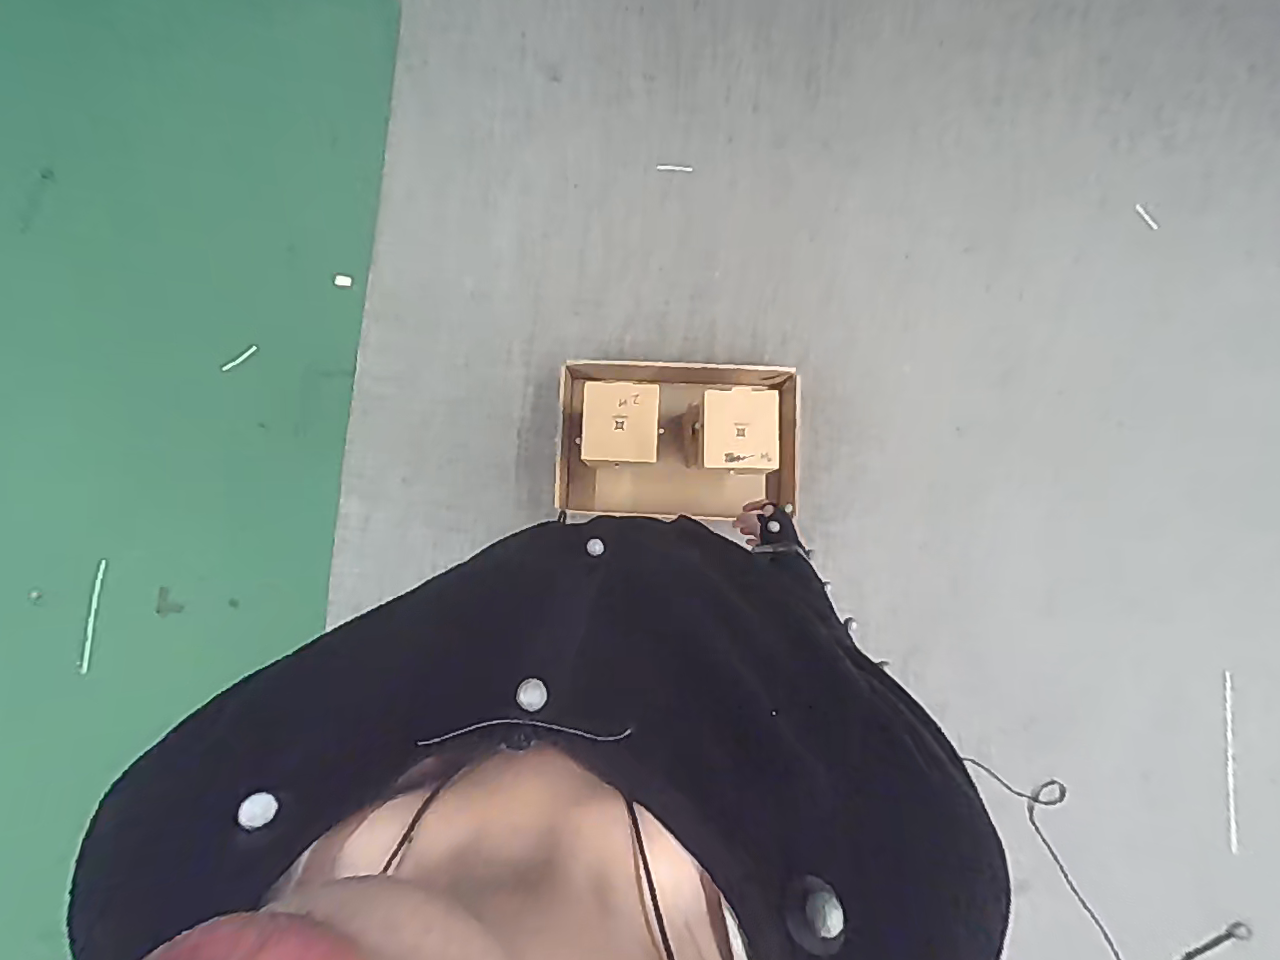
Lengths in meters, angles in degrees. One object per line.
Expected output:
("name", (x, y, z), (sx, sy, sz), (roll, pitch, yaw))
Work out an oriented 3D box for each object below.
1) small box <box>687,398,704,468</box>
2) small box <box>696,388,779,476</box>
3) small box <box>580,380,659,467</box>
("small box", (0.215, -0.121, 1.423), (0.179, 0.176, 0.168), (-2, 87, -1))
("small box", (0.221, -0.108, 1.259), (0.168, 0.176, 0.179), (1, 86, 1))
("small box", (-0.044, -0.125, 1.260), (0.168, 0.176, 0.179), (3, 87, -1))
